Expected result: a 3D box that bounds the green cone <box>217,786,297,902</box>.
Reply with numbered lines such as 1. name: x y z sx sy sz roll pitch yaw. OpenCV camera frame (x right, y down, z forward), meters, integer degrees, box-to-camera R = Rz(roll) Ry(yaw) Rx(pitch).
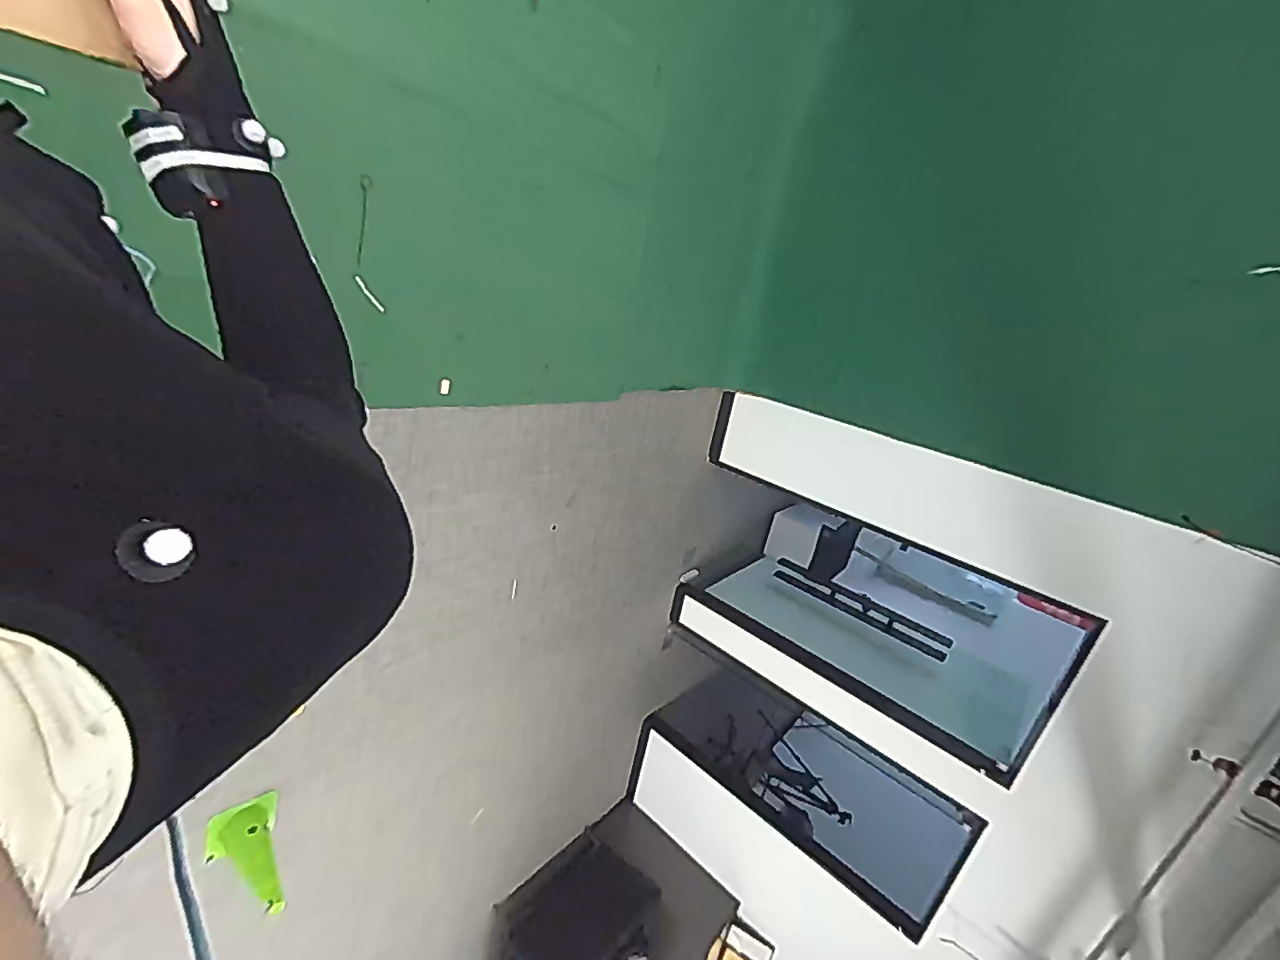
1. green cone: -1.231 1.249 1.799 0.200 0.368 0.202 -6 114 -52
